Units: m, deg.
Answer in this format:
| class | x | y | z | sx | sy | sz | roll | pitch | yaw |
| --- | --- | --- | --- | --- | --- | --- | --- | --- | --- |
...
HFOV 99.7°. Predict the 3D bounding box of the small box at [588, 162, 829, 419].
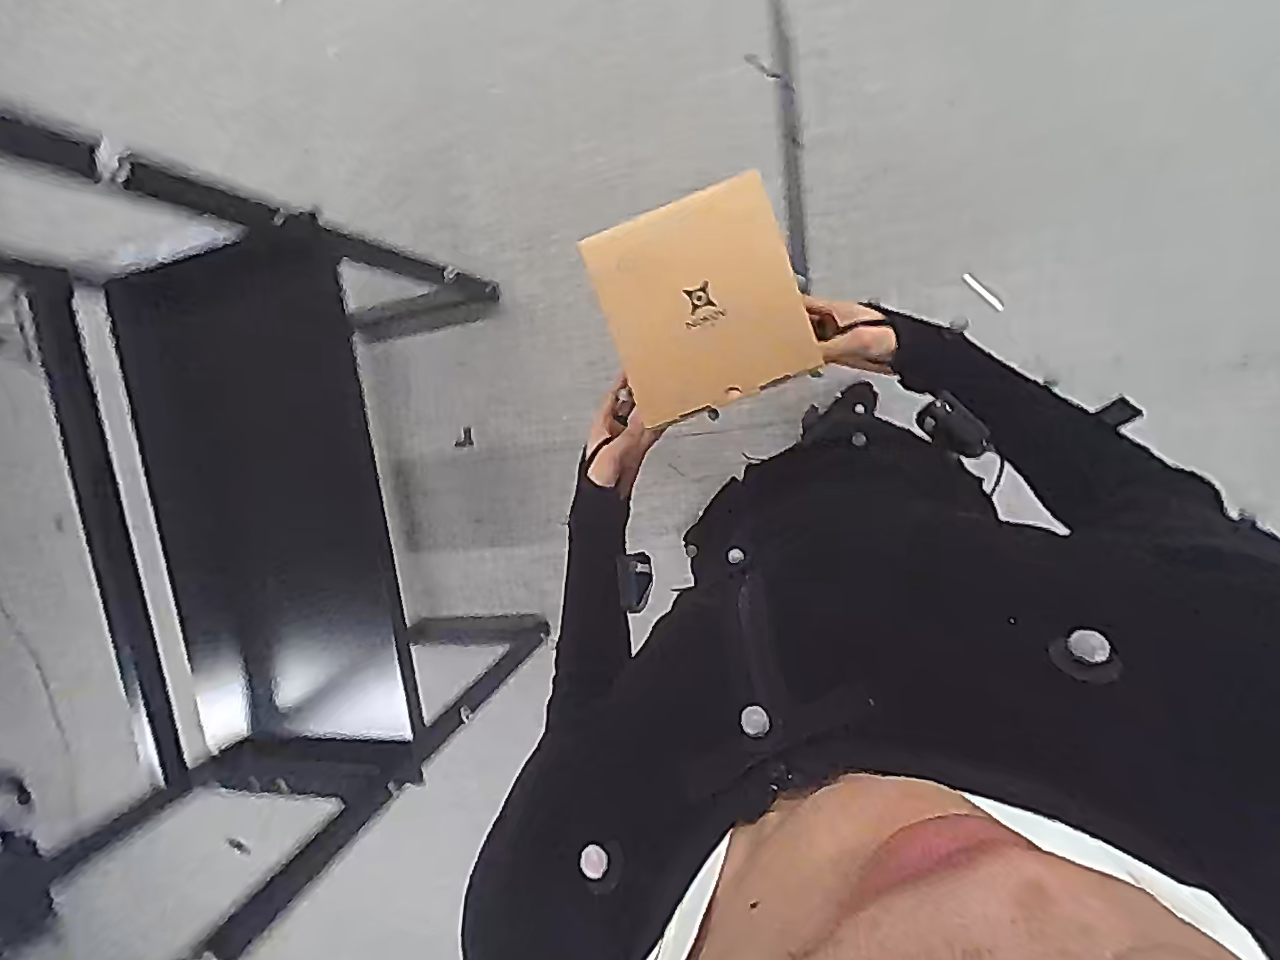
| class | x | y | z | sx | sy | sz | roll | pitch | yaw |
| --- | --- | --- | --- | --- | --- | --- | --- | --- | --- |
| small box | 0.060 | -0.166 | 0.538 | 0.168 | 0.176 | 0.179 | -20 | 96 | 5 |
